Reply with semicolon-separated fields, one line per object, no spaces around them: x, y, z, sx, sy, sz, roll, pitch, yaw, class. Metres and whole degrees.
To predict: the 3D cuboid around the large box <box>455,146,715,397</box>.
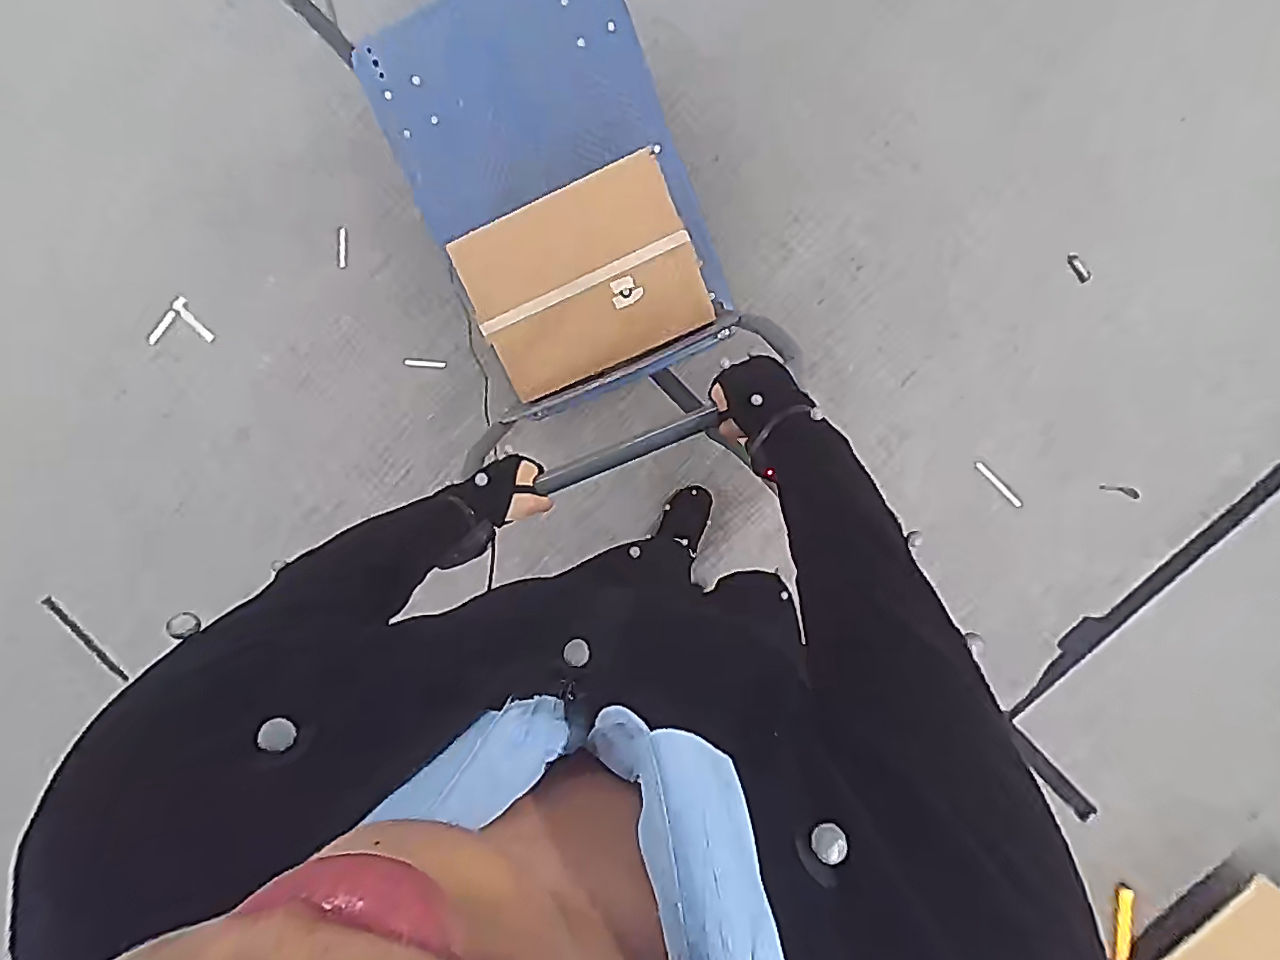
-0.099;-0.408;1.139;0.408;0.320;0.320;-23;105;6;large box
